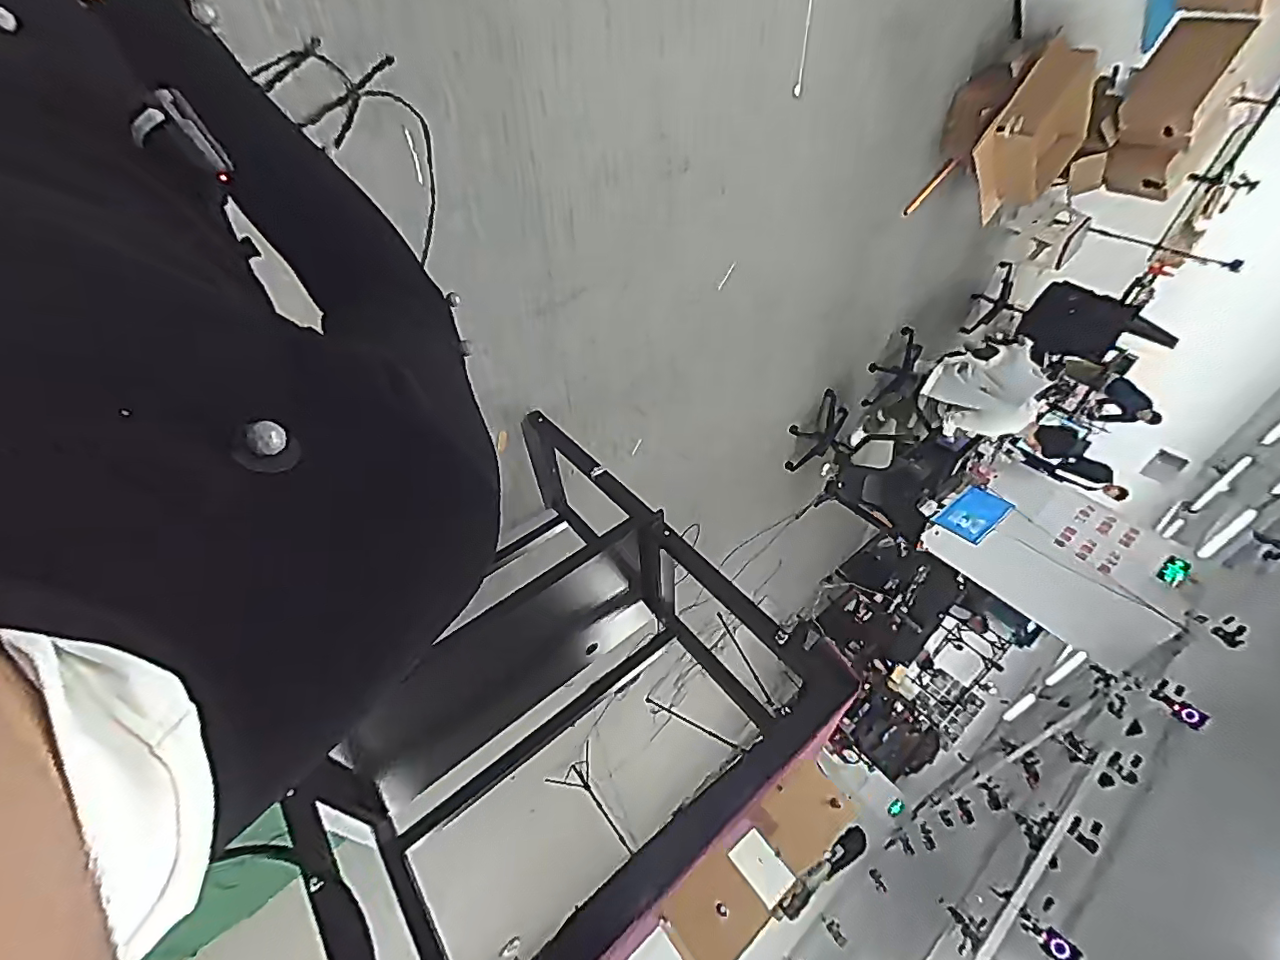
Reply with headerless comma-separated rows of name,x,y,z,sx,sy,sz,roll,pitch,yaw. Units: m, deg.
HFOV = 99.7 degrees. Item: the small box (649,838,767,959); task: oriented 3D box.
small box,0.135,0.912,1.145,0.179,0.176,0.168,-29,143,-28
